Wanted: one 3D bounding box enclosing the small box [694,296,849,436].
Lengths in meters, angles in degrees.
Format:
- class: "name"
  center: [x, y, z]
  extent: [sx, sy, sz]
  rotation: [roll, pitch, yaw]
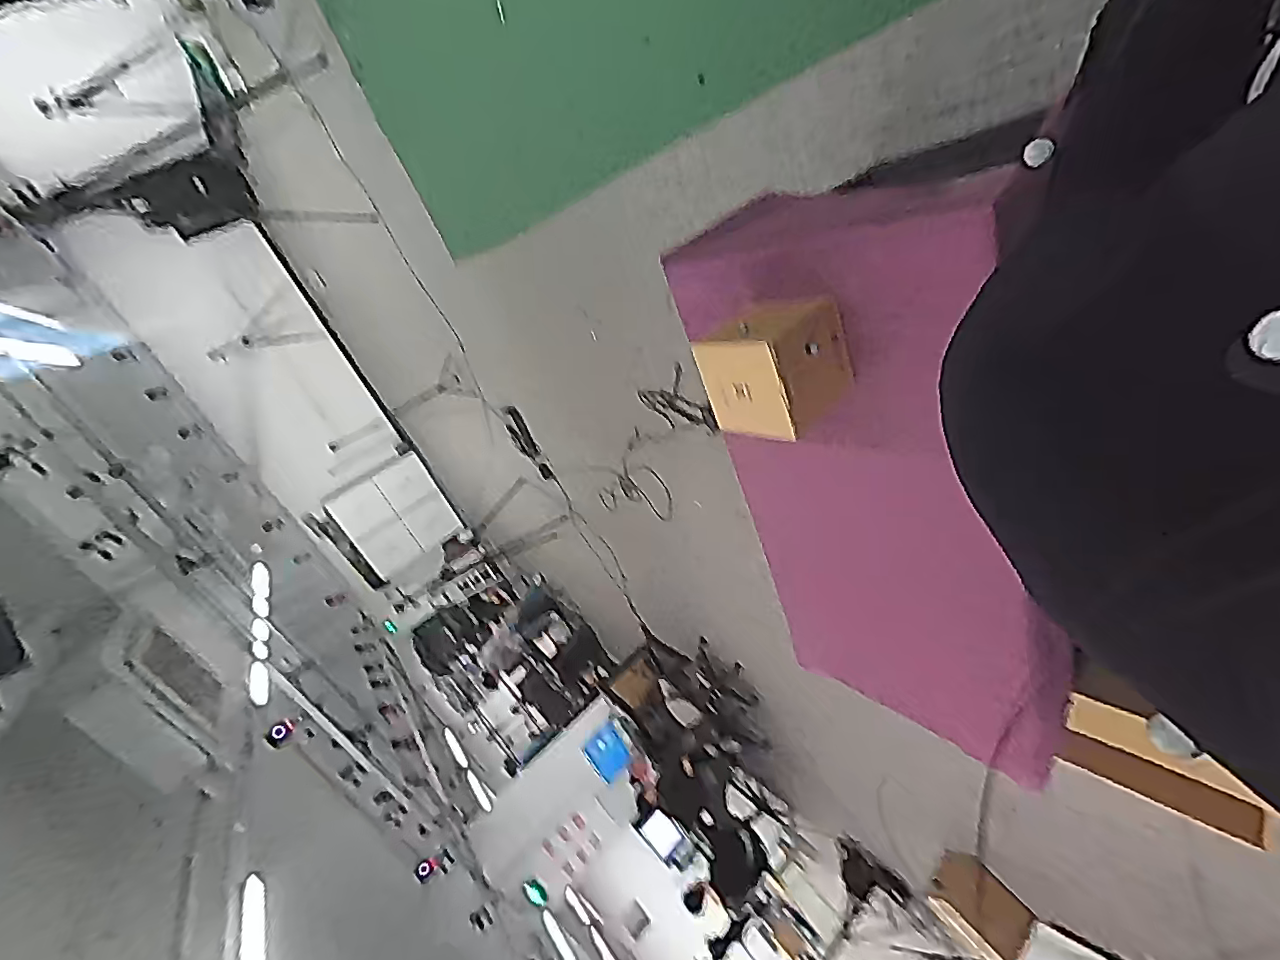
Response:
- class: "small box"
  center: [0.227, -0.194, 0.903]
  extent: [0.179, 0.176, 0.168]
  rotation: [17, 138, 52]
